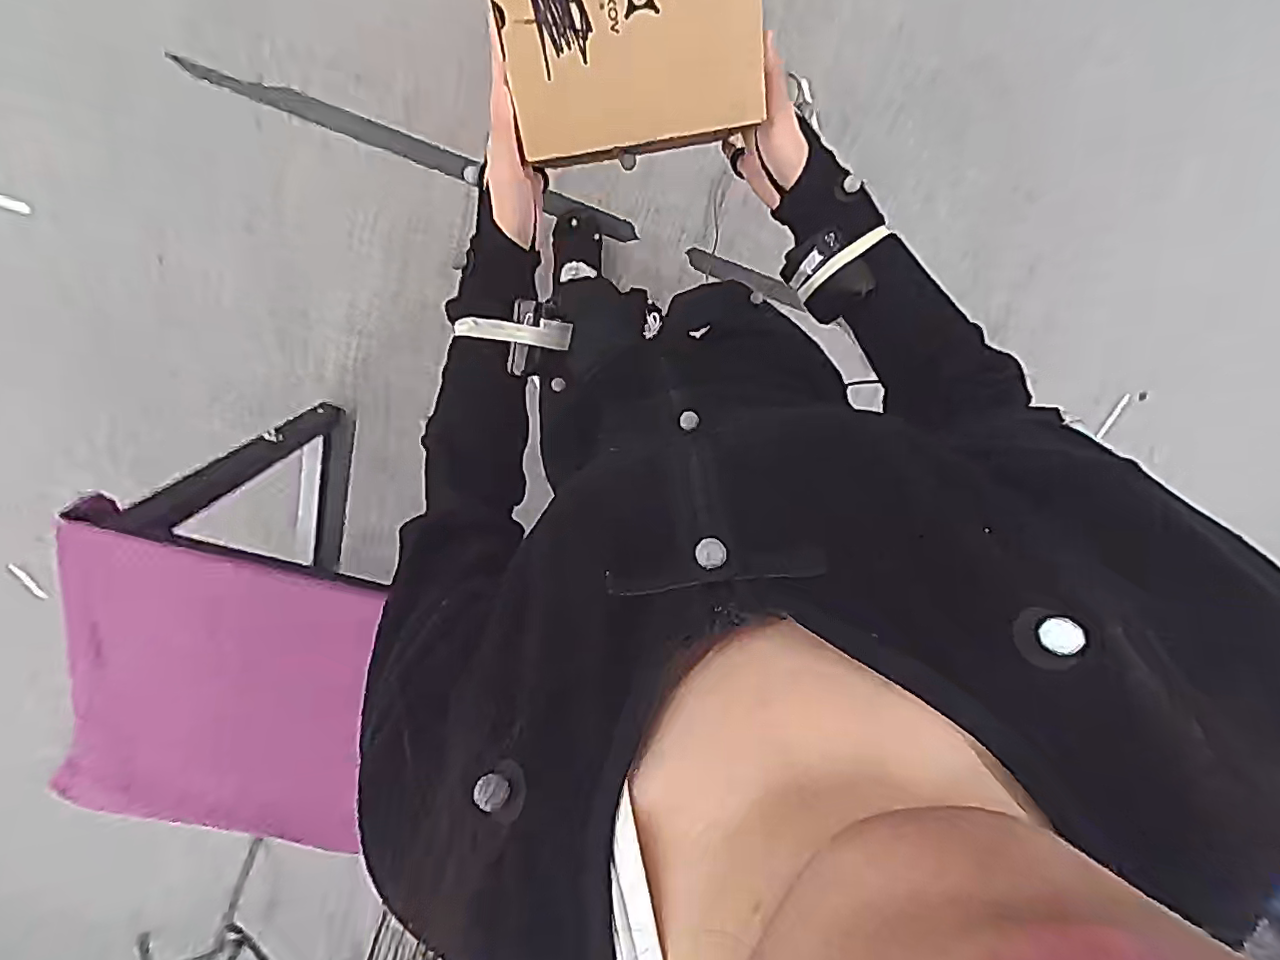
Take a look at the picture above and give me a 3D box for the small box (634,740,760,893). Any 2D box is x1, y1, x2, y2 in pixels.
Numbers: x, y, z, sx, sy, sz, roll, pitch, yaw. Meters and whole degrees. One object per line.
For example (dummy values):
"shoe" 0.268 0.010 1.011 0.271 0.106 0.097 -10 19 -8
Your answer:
"small box" 0.087 0.588 0.945 0.168 0.176 0.179 13 113 -8

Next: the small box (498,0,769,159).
"small box" -0.007 -0.353 0.414 0.179 0.176 0.168 -8 119 1

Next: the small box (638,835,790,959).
"small box" 0.096 0.661 0.798 0.179 0.176 0.168 11 113 -6
